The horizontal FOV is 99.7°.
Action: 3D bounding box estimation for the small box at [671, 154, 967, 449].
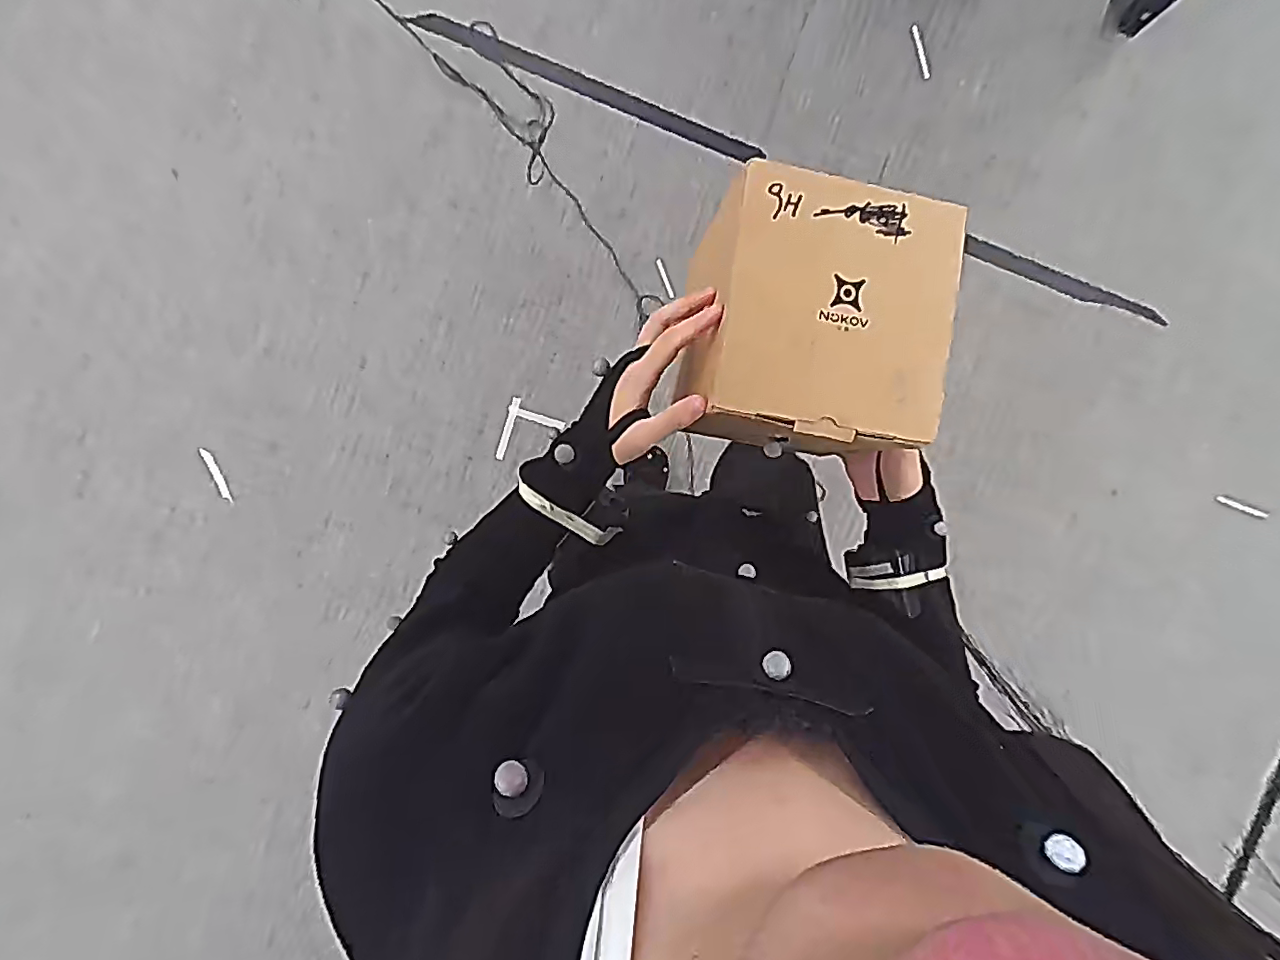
[{"bbox_3d":[0.128,-0.123,0.452,0.168,0.176,0.179,9,90,-8],"label":"small box"}]
